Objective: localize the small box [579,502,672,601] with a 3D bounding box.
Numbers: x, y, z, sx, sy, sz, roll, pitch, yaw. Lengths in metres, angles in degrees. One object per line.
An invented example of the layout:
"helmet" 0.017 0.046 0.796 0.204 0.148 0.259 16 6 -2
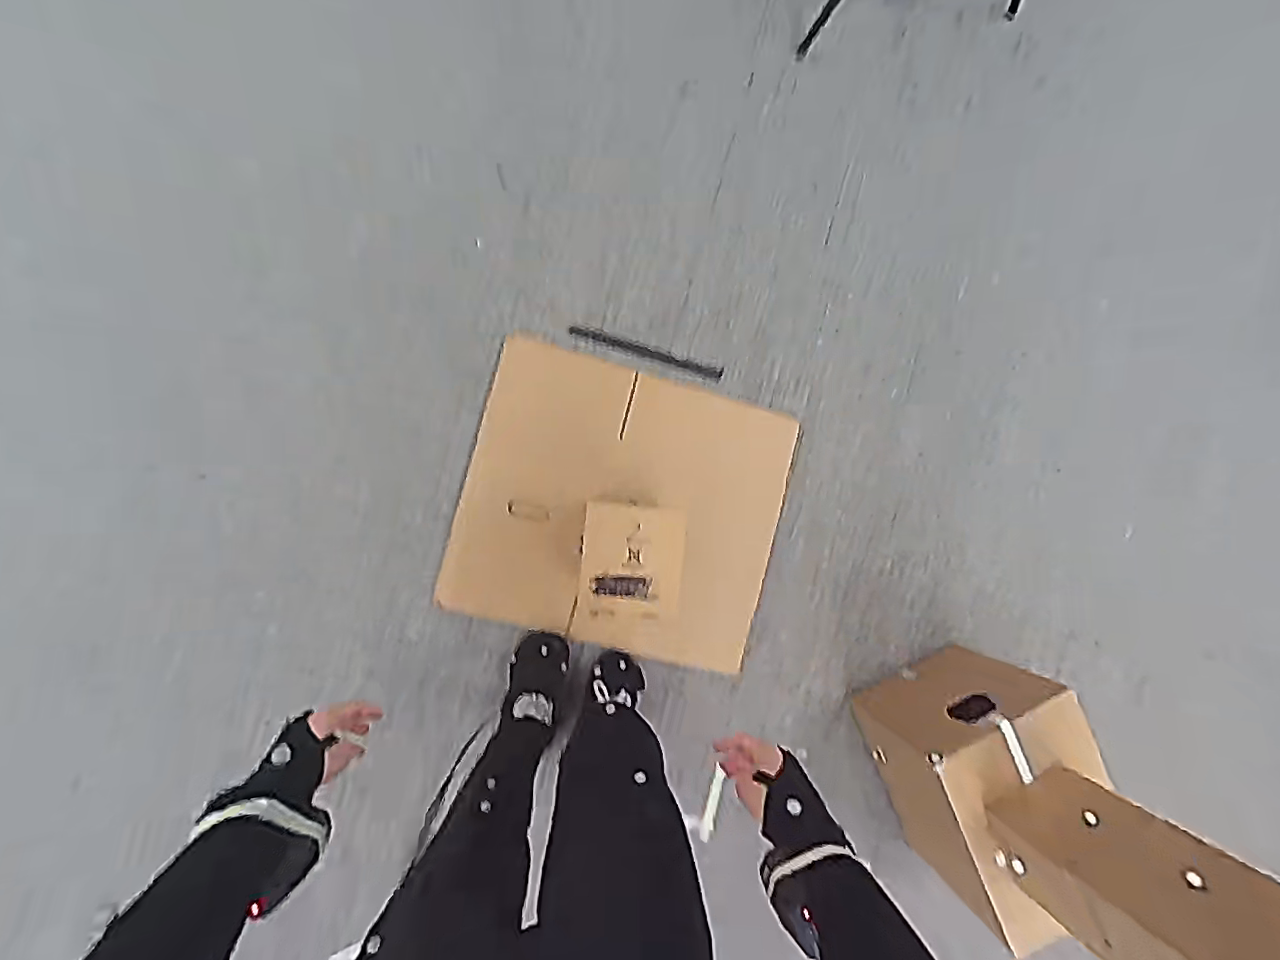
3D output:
"small box" -0.035 0.141 1.116 0.168 0.176 0.179 7 88 -5

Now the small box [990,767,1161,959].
"small box" 0.741 0.622 0.902 0.179 0.176 0.168 -24 92 -7

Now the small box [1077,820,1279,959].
"small box" 0.765 0.616 0.740 0.179 0.176 0.168 -24 91 -8
